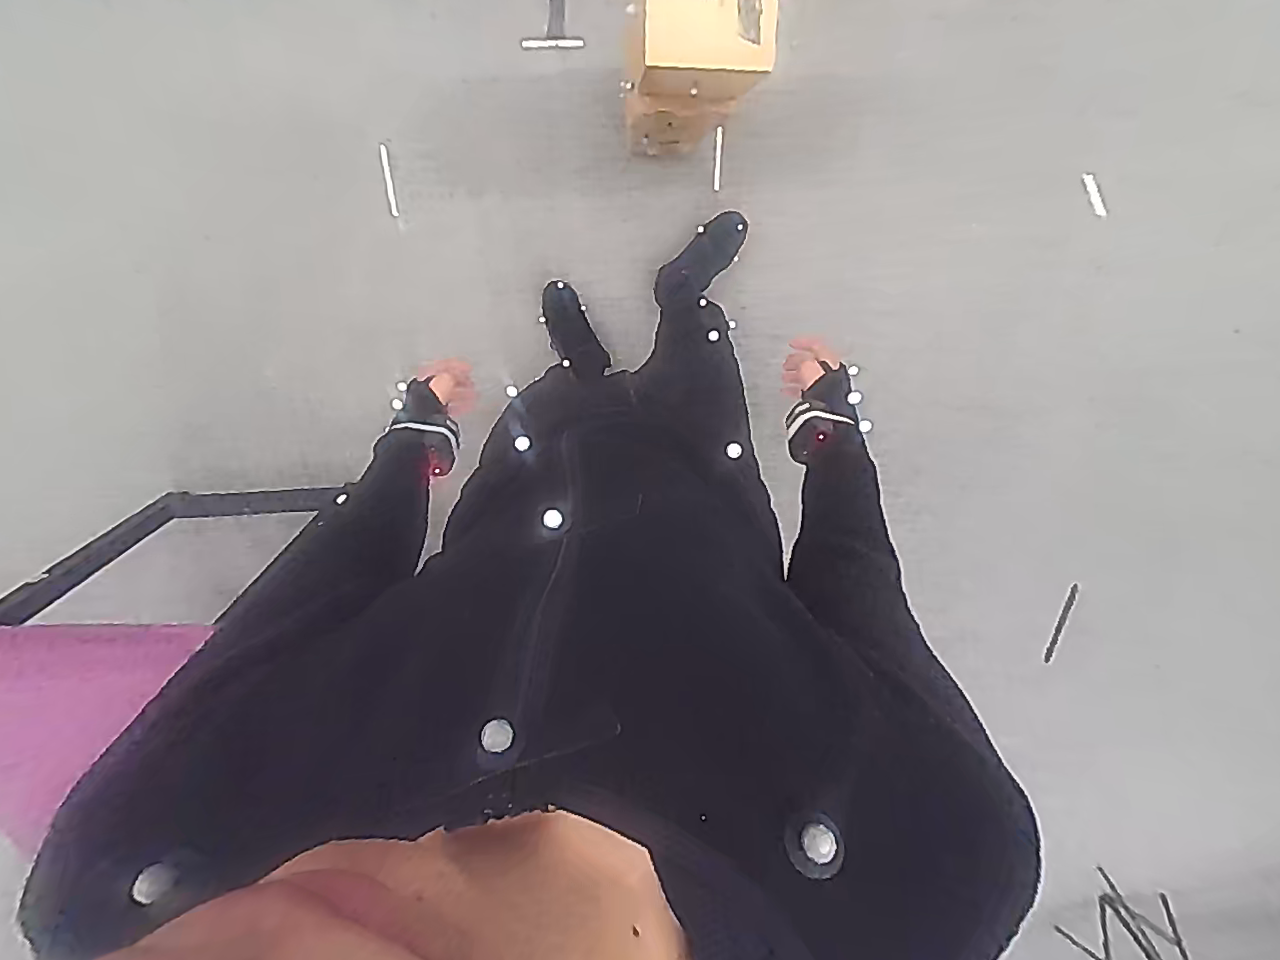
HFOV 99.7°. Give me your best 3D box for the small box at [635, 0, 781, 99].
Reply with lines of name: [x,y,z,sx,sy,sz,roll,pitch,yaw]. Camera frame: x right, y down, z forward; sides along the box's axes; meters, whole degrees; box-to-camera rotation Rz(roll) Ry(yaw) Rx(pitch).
small box: [0.088,-0.647,0.753,0.179,0.176,0.168,-1,116,-4]

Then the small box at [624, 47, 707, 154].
small box: [0.054,-0.840,1.204,0.168,0.176,0.179,-5,117,-2]

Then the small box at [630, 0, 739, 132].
small box: [0.070,-0.701,0.908,0.168,0.176,0.179,-2,116,-4]
